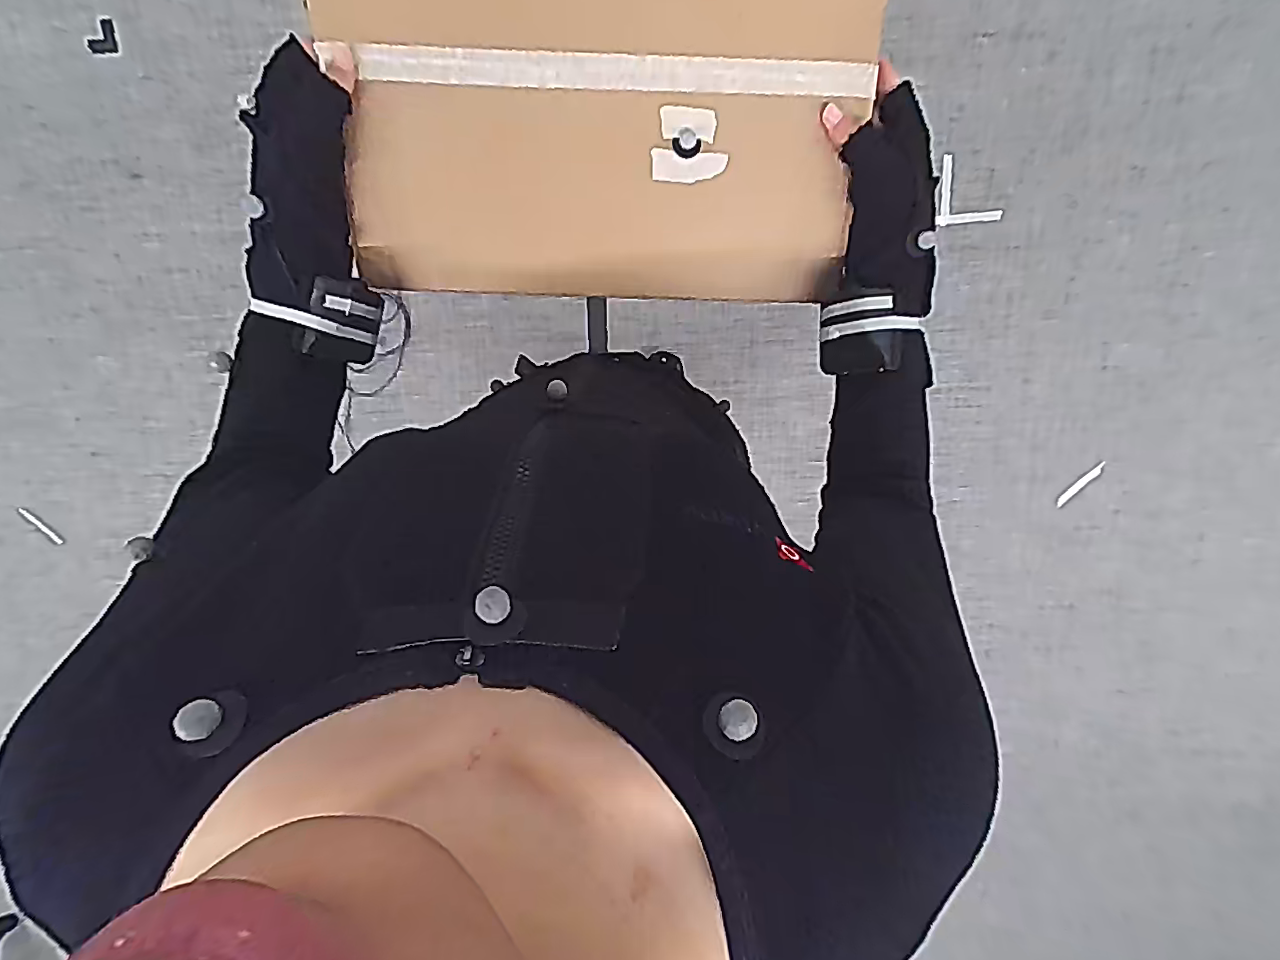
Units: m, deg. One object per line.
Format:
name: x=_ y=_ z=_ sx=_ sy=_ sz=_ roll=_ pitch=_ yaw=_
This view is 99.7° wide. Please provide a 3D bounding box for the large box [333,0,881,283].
large box: x=-0.028 y=-0.373 z=0.540 sx=0.408 sy=0.320 sz=0.320 roll=1 pitch=115 yaw=-2
